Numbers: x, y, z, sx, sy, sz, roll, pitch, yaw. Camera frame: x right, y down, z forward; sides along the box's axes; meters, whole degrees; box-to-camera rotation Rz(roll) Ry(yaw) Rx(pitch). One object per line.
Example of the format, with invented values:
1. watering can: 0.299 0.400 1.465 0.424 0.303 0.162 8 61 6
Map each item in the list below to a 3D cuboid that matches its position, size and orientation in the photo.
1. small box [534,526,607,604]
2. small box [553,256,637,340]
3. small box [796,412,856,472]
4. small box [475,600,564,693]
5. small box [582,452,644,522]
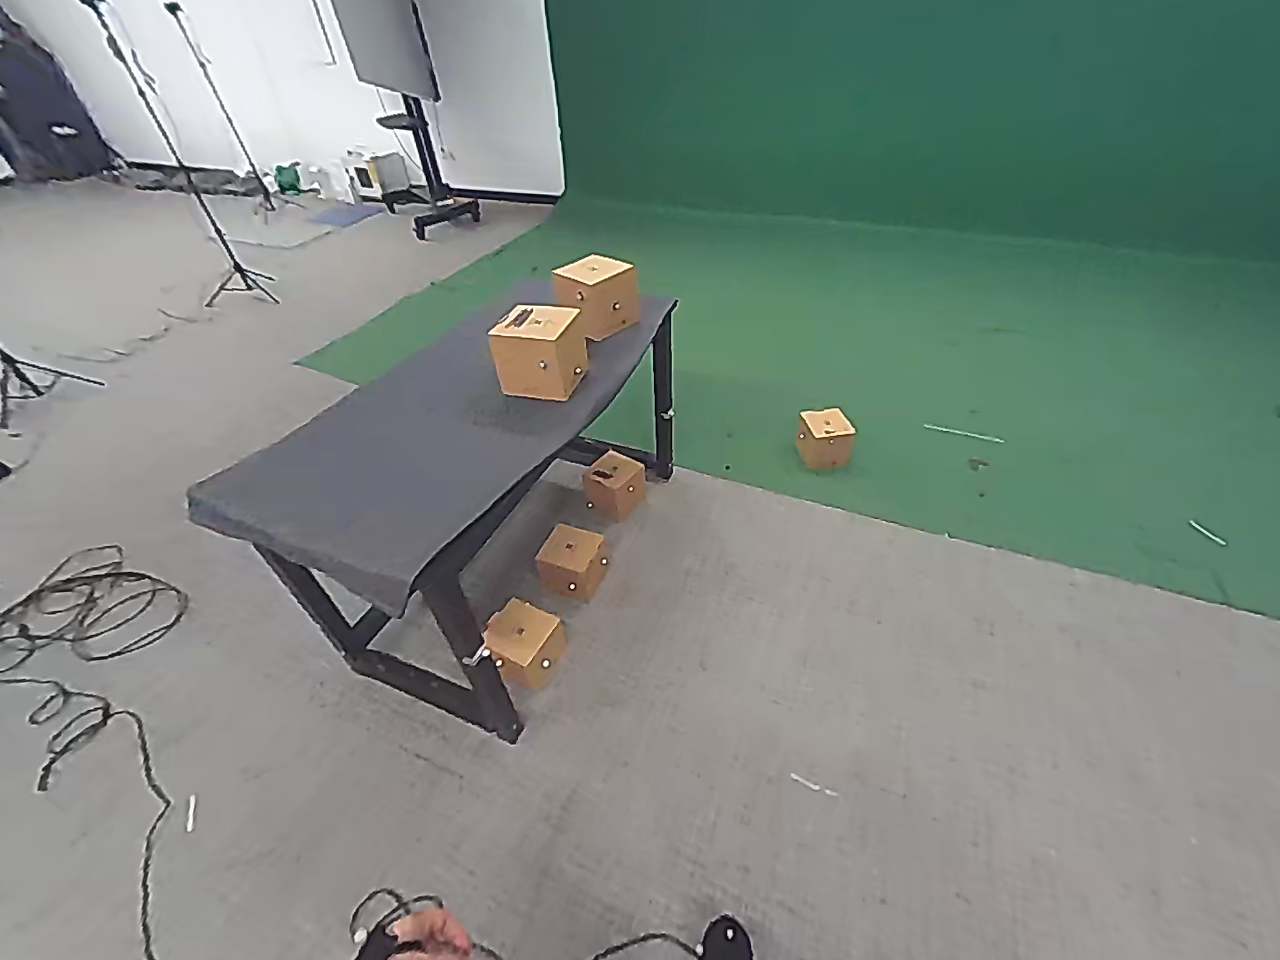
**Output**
1. small box: -0.220 0.281 1.774 0.179 0.176 0.168 13 44 18
2. small box: -0.123 -0.522 1.562 0.179 0.176 0.168 31 52 34
3. small box: 0.748 -0.155 2.200 0.168 0.176 0.179 -7 42 -5
4. small box: -0.337 0.485 1.560 0.179 0.176 0.168 18 47 22
5. small box: -0.096 0.029 2.042 0.168 0.176 0.179 26 48 27
